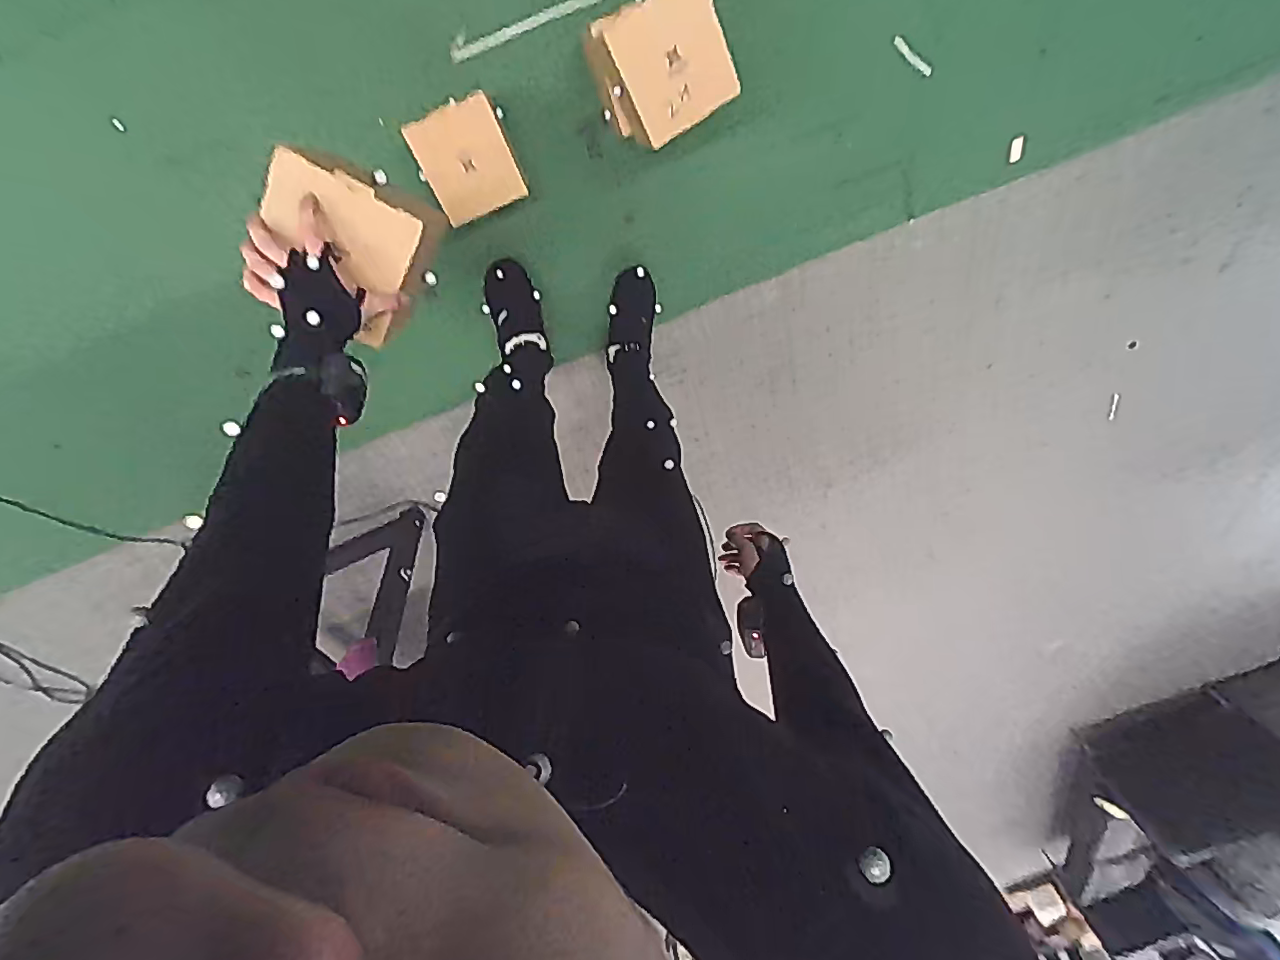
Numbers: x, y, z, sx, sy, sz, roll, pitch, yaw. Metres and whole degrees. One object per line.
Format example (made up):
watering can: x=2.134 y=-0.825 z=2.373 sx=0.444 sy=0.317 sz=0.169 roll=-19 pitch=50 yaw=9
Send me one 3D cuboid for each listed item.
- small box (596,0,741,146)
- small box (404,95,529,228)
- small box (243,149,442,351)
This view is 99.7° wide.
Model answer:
small box: x=0.040 y=-0.692 z=0.902 sx=0.168 sy=0.176 sz=0.179 roll=-29 pitch=125 yaw=9
small box: x=-0.330 y=-0.633 z=1.072 sx=0.168 sy=0.176 sz=0.179 roll=-22 pitch=124 yaw=5
small box: x=-0.381 y=-0.305 z=0.723 sx=0.168 sy=0.176 sz=0.179 roll=24 pitch=112 yaw=-18
